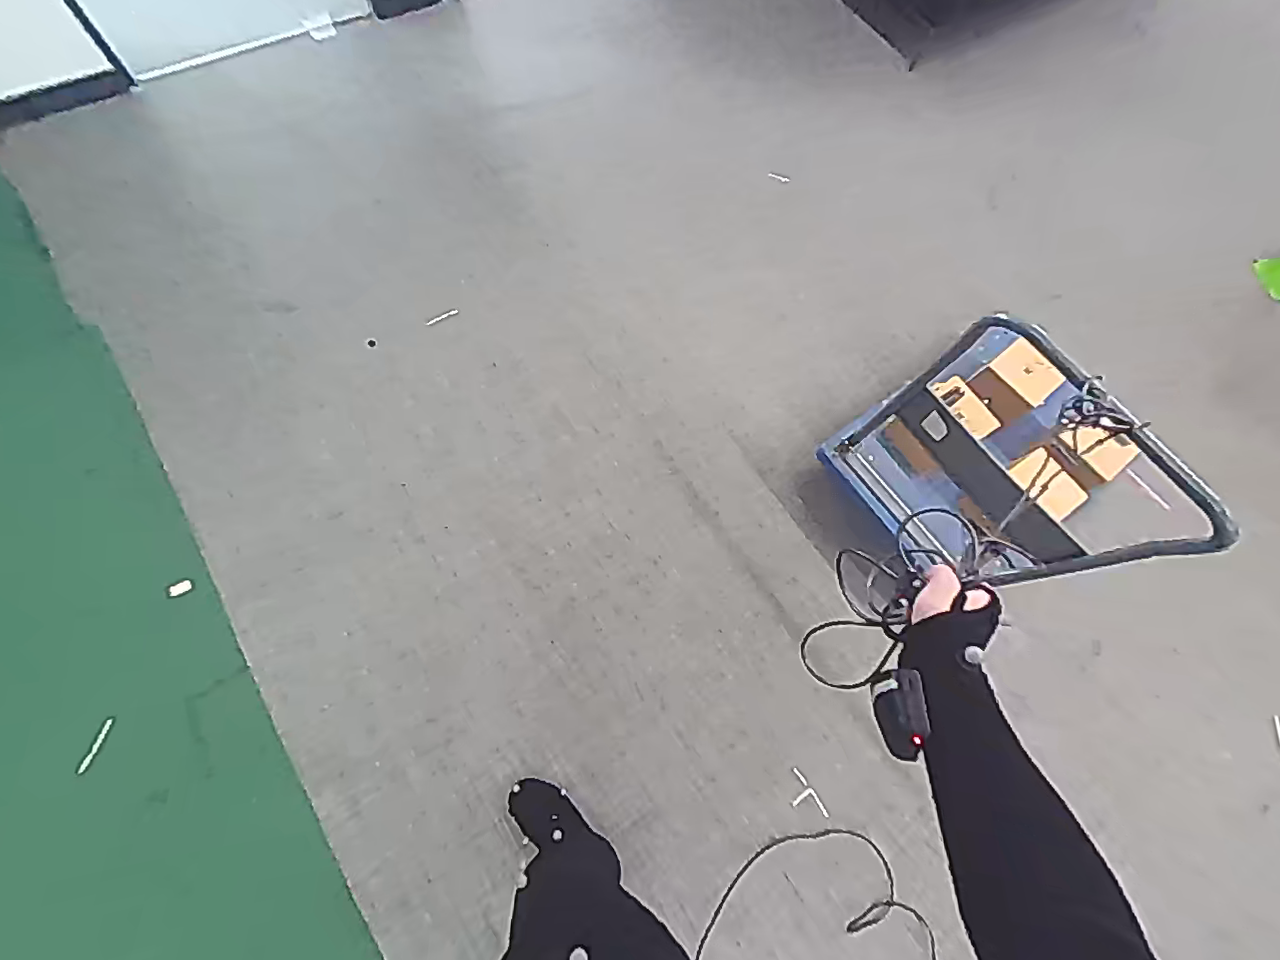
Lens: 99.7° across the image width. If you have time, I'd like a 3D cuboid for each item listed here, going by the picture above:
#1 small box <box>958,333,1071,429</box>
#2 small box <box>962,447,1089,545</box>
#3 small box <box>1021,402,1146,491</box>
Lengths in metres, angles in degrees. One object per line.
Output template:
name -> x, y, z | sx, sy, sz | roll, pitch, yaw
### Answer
small box -> 1.055, -0.276, 1.544 | 0.179, 0.176, 0.168 | -36, 77, -17
small box -> 1.001, 0.047, 1.420 | 0.179, 0.176, 0.168 | -31, 75, -15
small box -> 1.204, -0.076, 1.483 | 0.179, 0.176, 0.168 | -35, 75, -15
